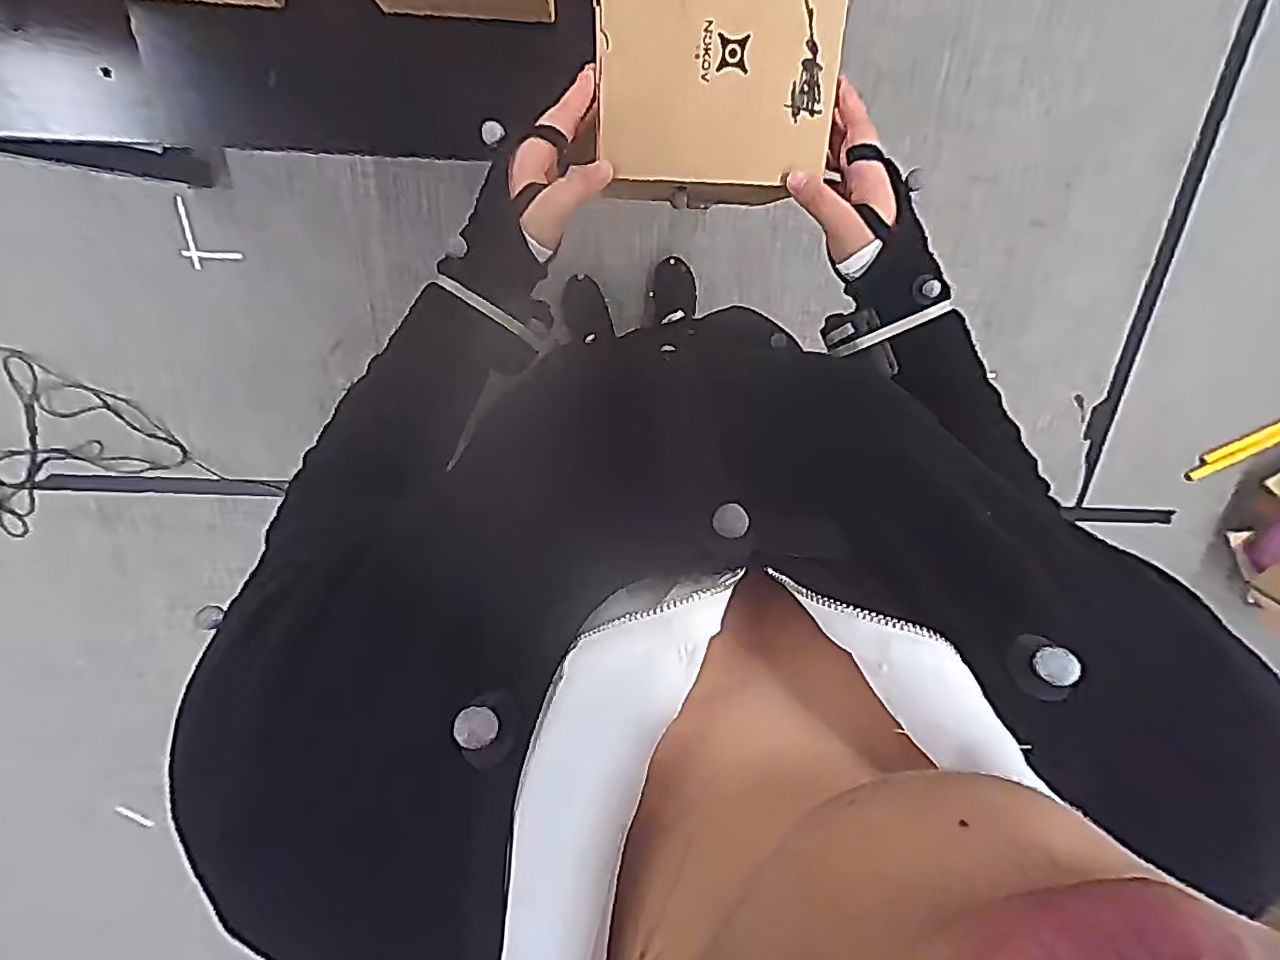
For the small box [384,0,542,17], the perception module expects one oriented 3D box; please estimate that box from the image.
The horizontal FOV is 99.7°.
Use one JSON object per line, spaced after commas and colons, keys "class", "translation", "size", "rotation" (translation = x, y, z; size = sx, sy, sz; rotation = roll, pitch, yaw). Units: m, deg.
{"class": "small box", "translation": [-0.170, -0.529, 0.458], "size": [0.179, 0.176, 0.168], "rotation": [0, 112, -4]}
